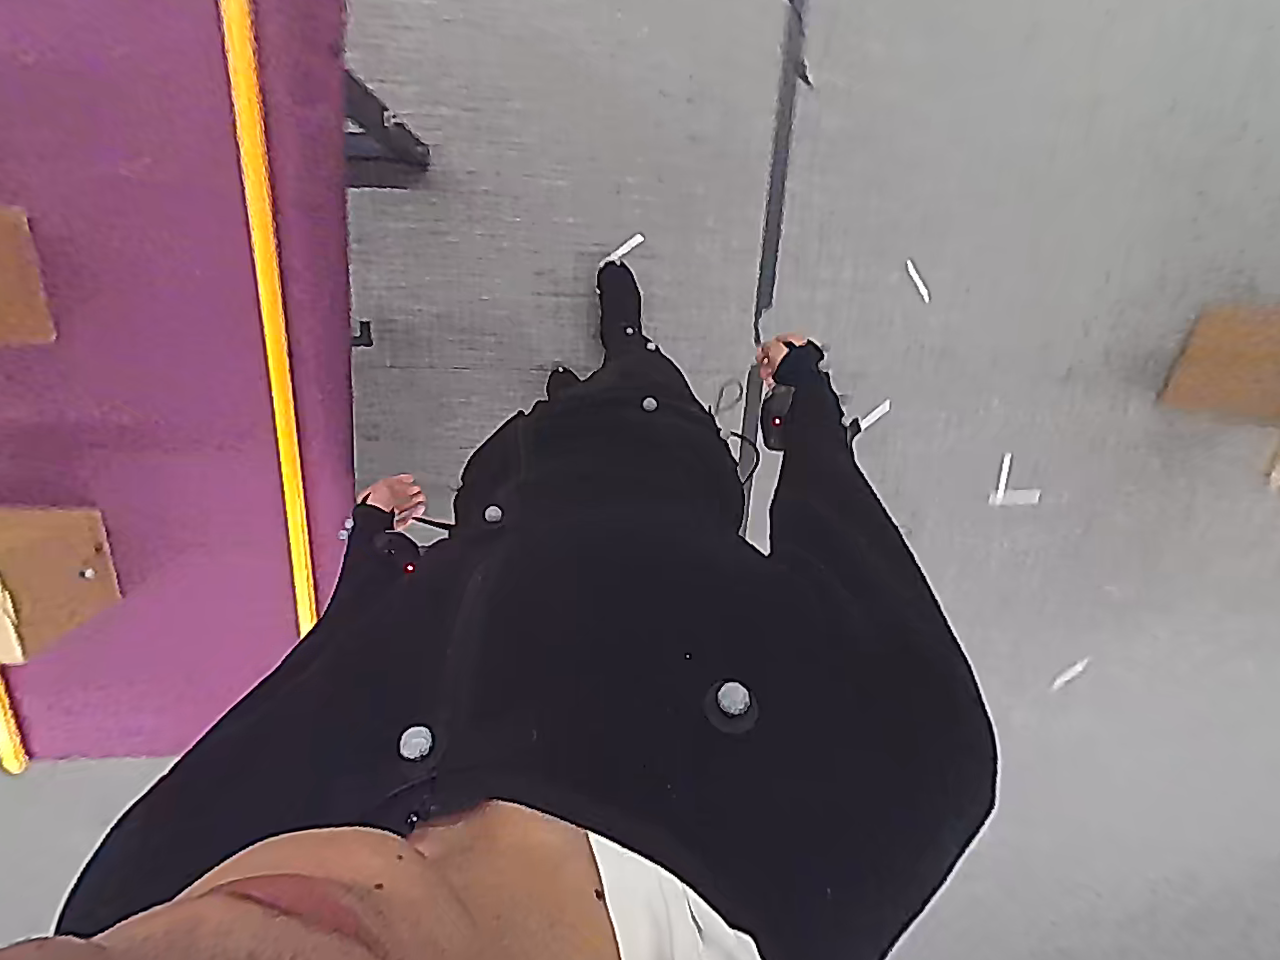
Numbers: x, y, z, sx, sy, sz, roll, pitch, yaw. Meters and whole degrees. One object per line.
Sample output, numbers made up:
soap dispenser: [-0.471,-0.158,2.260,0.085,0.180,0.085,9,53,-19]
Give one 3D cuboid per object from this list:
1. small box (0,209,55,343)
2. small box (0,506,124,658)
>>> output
small box: [-0.908,-0.264,0.673,0.168,0.176,0.179,1,107,-6]
small box: [-0.928,0.142,0.791,0.179,0.176,0.168,1,107,-7]
